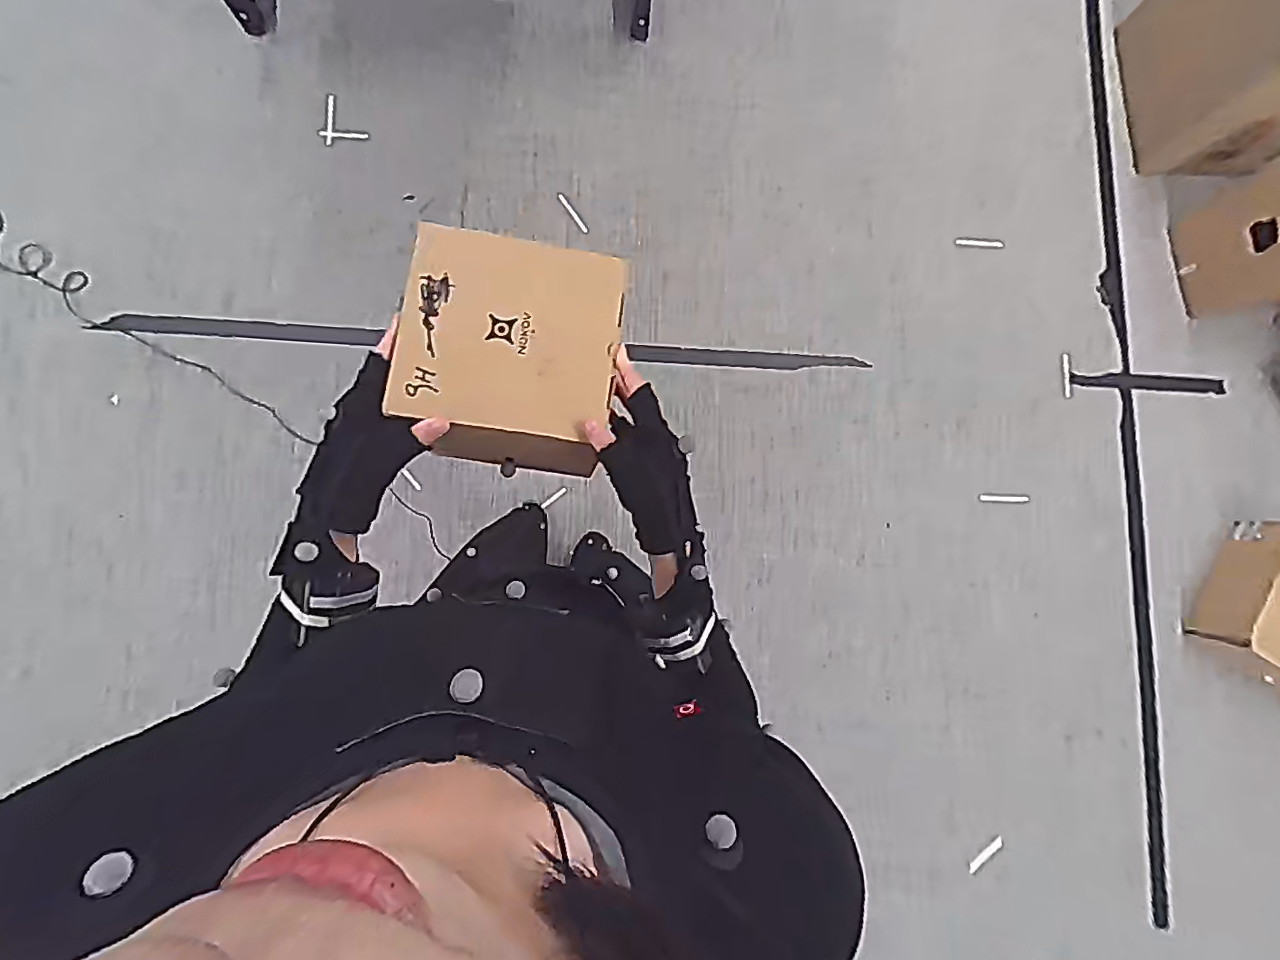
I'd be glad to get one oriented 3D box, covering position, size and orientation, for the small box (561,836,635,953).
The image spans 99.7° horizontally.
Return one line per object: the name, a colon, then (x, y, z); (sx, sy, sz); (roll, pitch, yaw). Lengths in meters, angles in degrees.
small box: (-0.105, 1.040, 1.365); (0.168, 0.176, 0.179); (4, 83, -5)
